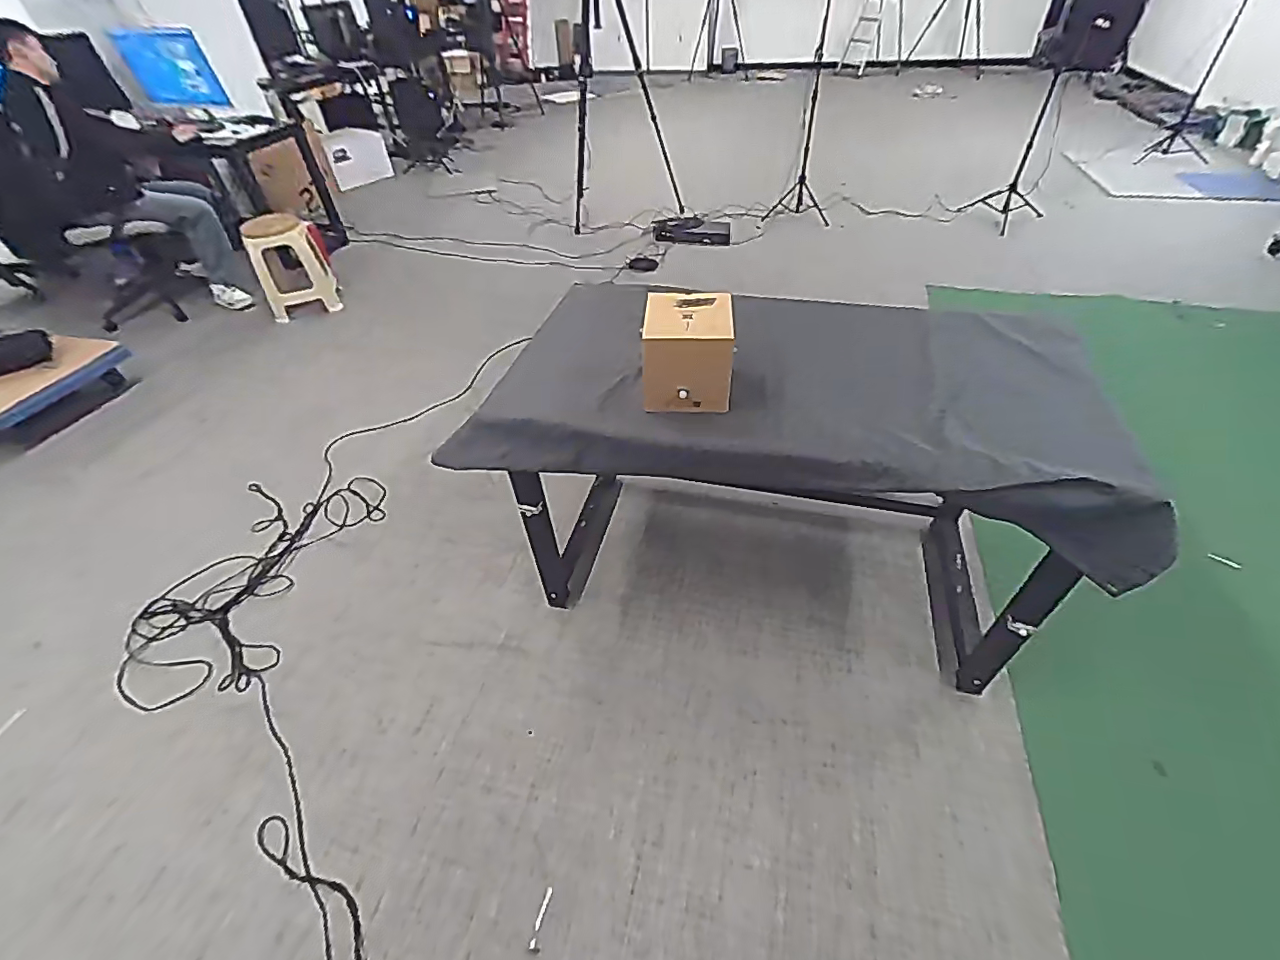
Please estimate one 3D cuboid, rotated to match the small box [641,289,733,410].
[{"bbox_3d":[0.093,-0.259,1.069,0.168,0.176,0.179,1,45,5],"label":"small box"}]
